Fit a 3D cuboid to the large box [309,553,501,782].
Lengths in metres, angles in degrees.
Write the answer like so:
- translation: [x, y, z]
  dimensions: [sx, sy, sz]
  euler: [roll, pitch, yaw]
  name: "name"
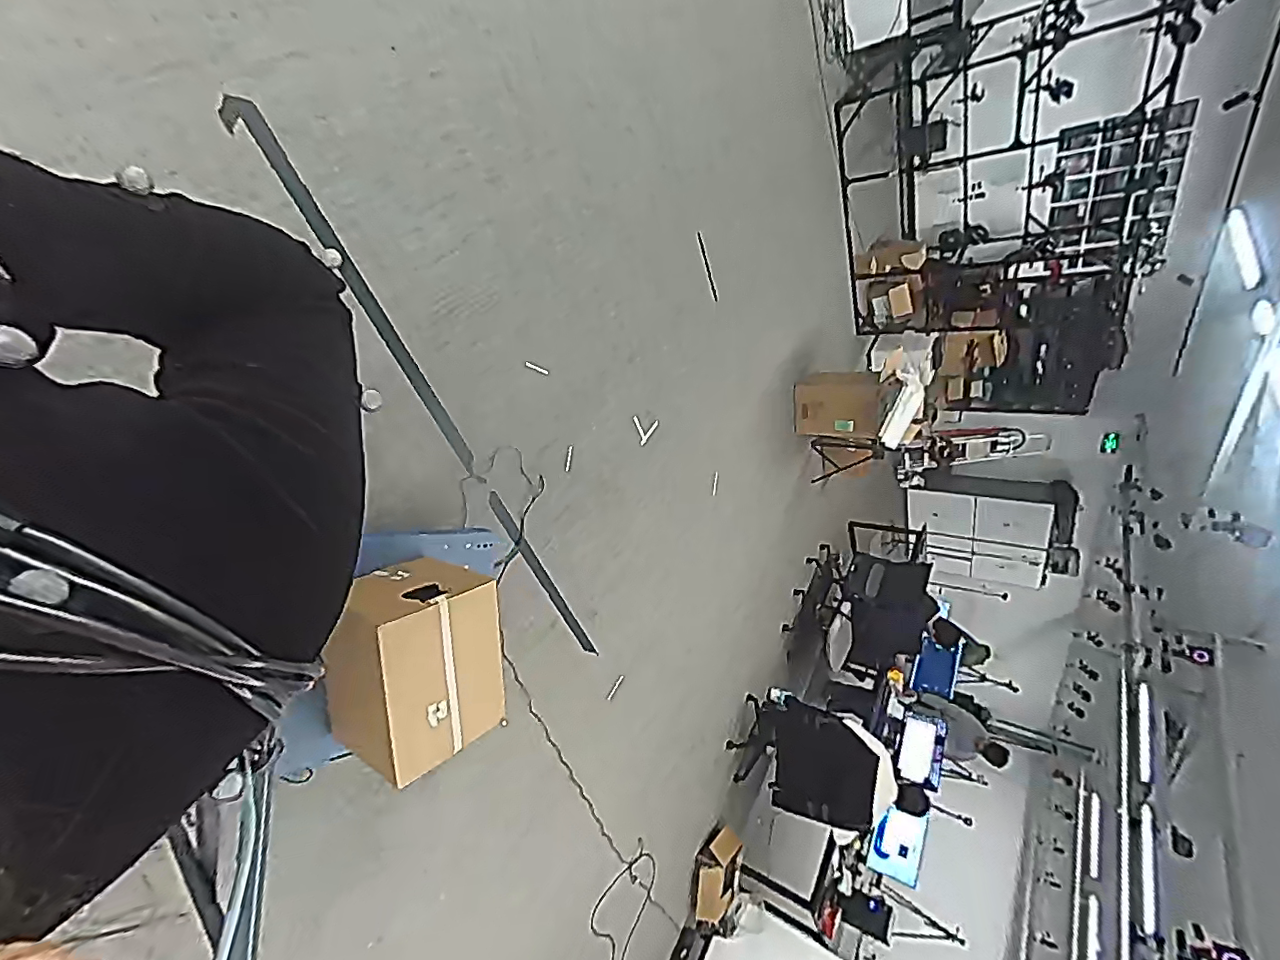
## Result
- translation: [-0.583, 0.441, 1.366]
  dimensions: [0.320, 0.320, 0.408]
  euler: [-16, 110, -51]
  name: "large box"
